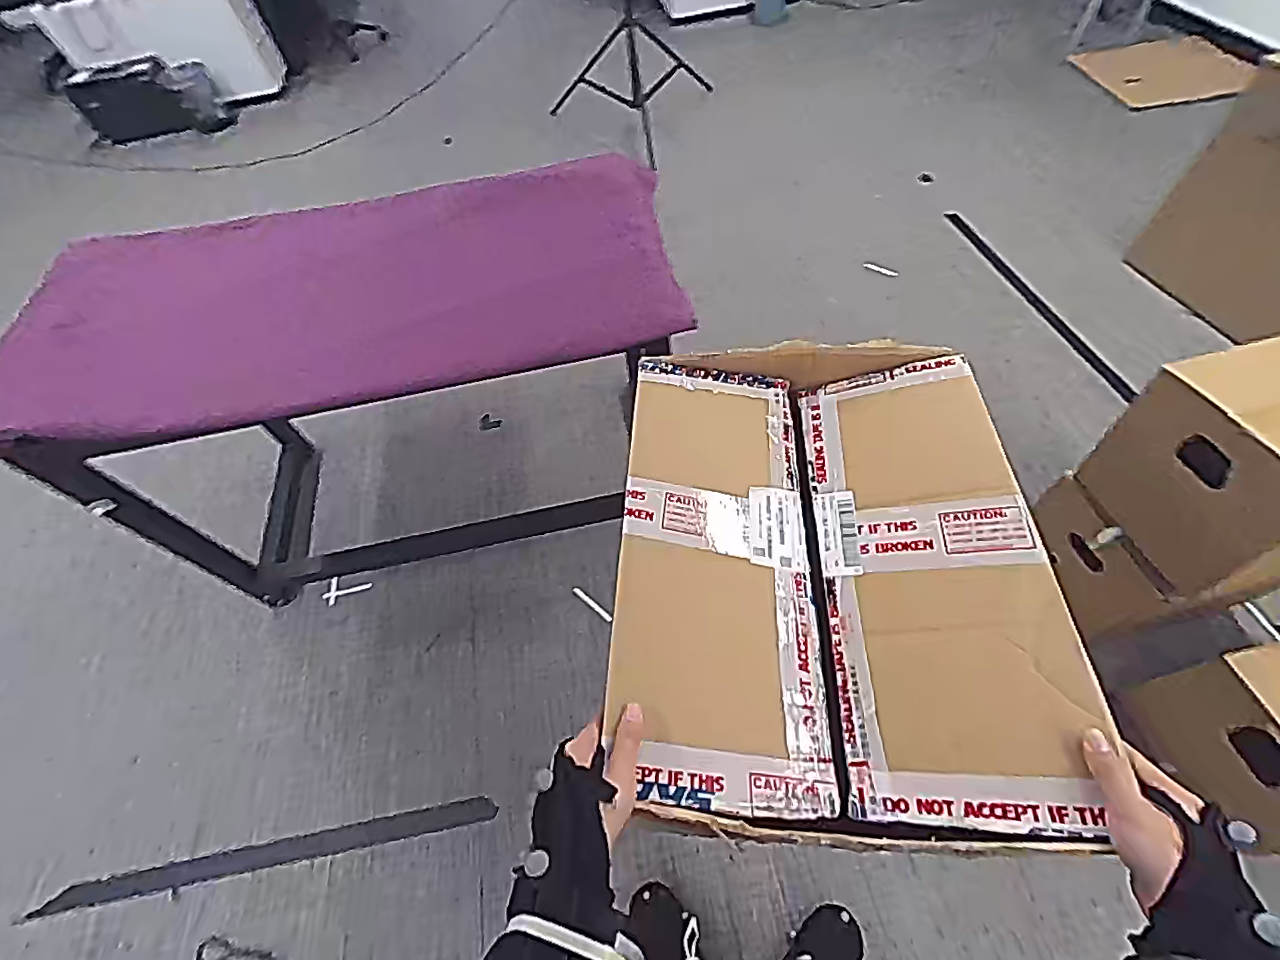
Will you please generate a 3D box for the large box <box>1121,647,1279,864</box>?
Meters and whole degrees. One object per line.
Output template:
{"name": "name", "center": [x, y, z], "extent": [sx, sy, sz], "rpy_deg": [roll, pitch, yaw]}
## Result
{"name": "large box", "center": [1.264, 0.479, 0.995], "extent": [0.408, 0.320, 0.320], "rpy_deg": [-14, 55, -2]}
